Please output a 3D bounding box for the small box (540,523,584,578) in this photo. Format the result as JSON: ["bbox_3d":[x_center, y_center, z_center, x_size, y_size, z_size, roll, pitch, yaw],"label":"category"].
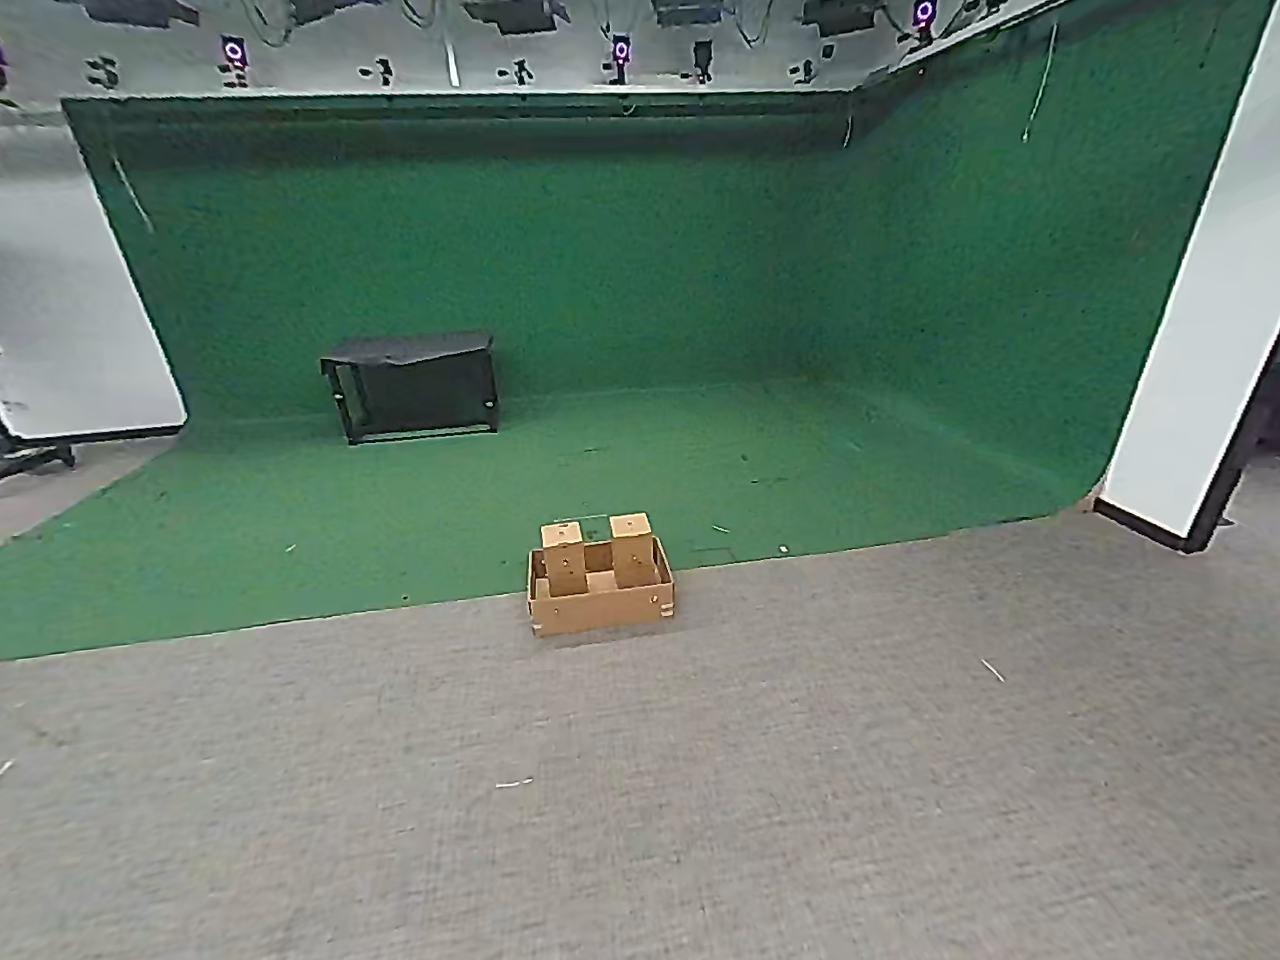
[{"bbox_3d":[-0.338,0.309,2.328,0.168,0.176,0.179,-7,27,-10],"label":"small box"}]

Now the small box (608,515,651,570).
[{"bbox_3d":[-0.047,0.274,2.377,0.168,0.176,0.179,-7,27,-7],"label":"small box"}]
